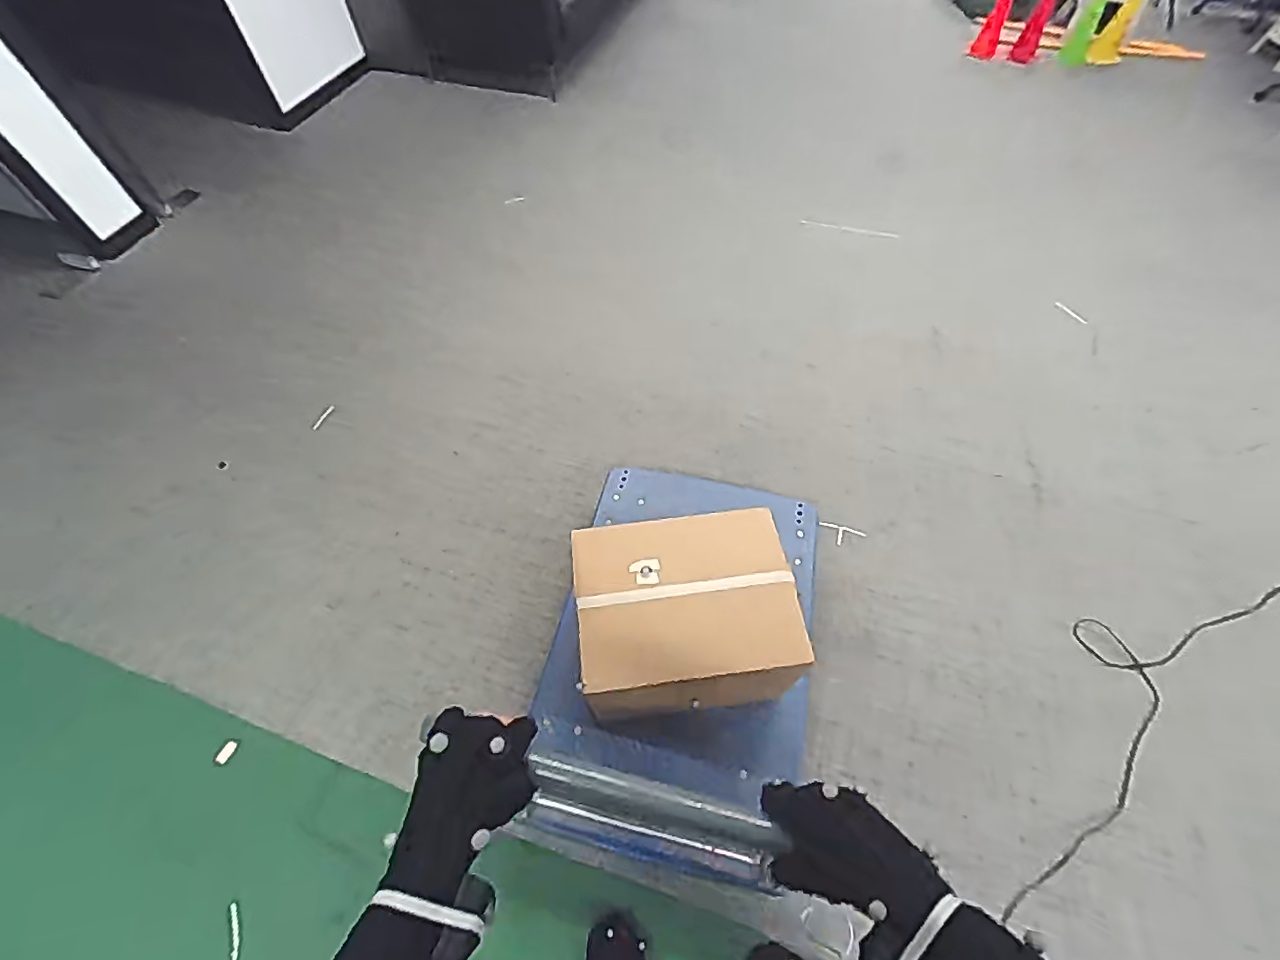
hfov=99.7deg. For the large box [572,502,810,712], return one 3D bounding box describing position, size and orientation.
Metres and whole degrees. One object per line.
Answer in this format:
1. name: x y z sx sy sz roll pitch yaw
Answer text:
1. large box: 0.087 0.276 1.138 0.408 0.320 0.320 -8 57 -3
